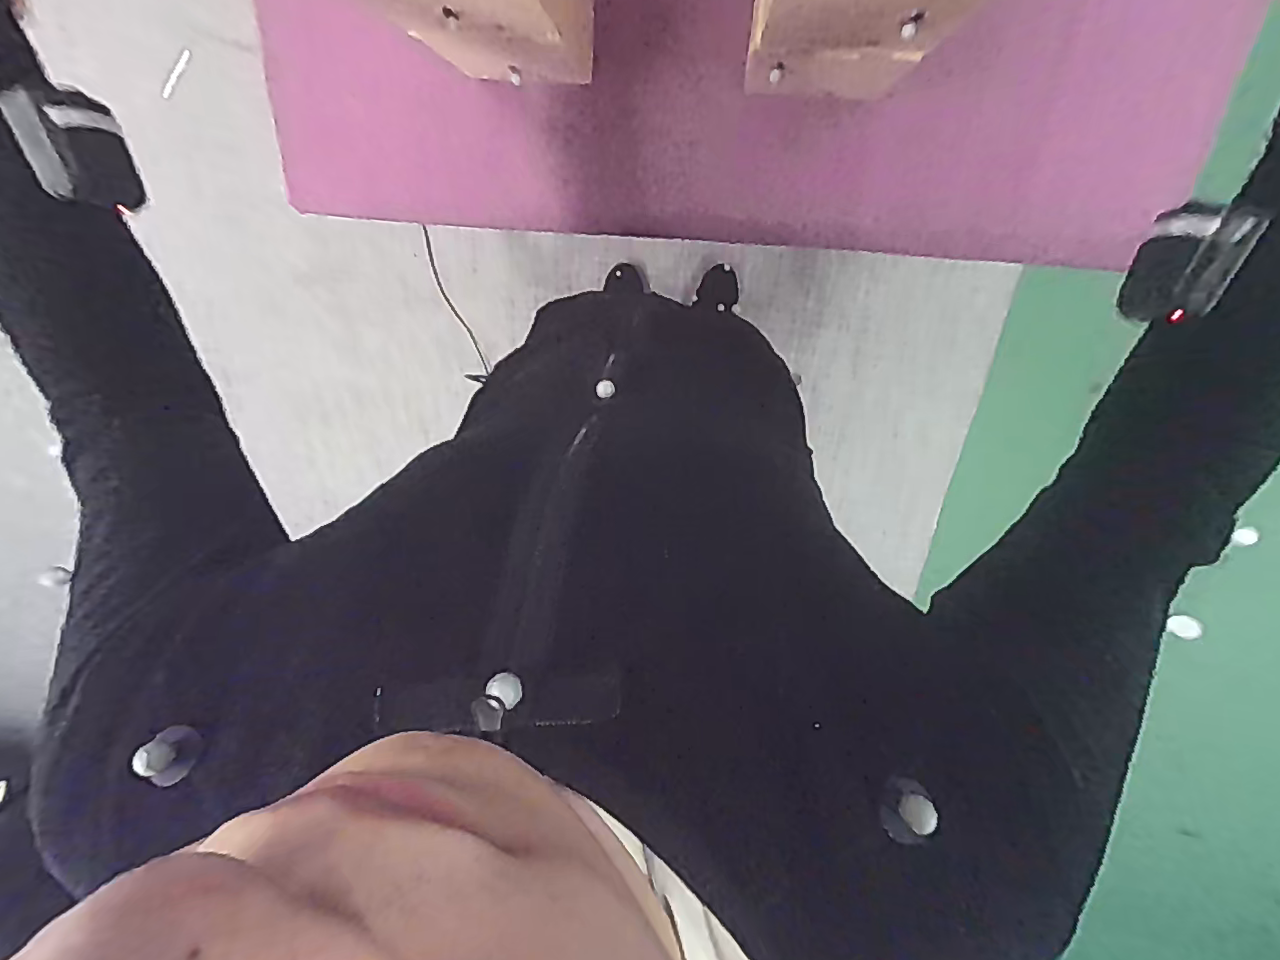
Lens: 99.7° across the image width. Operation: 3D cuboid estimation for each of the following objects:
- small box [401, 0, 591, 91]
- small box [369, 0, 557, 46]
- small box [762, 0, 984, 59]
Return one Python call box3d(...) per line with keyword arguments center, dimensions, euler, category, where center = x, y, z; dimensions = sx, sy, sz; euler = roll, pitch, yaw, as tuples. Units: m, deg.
box3d(center=(-0.149, -0.557, 0.590), dimensions=(0.168, 0.176, 0.179), euler=(6, 114, 4), category="small box")
box3d(center=(-0.165, -0.494, 0.441), dimensions=(0.168, 0.176, 0.179), euler=(5, 114, 3), category="small box")
box3d(center=(0.193, -0.456, 0.418), dimensions=(0.168, 0.176, 0.179), euler=(5, 113, 4), category="small box")
